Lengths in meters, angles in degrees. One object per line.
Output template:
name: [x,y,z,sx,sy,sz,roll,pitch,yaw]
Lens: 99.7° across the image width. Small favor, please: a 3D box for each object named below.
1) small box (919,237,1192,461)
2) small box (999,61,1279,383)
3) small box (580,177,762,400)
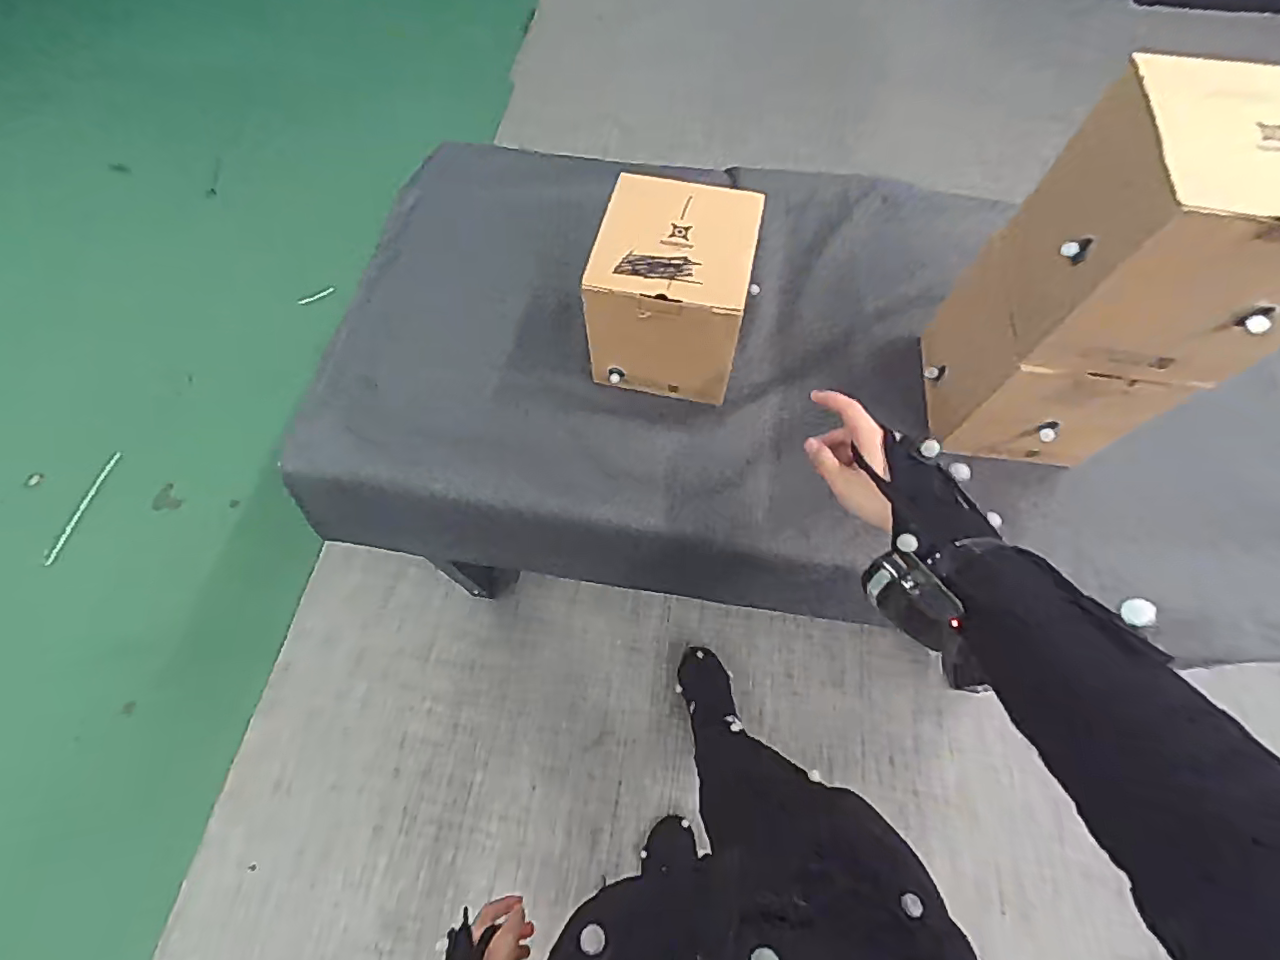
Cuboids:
small box: [0.434,-0.136,0.603,0.168,0.176,0.179,7,66,3]
small box: [0.438,-0.204,0.454,0.168,0.176,0.179,10,65,4]
small box: [0.038,-0.218,0.643,0.168,0.176,0.179,12,65,5]
